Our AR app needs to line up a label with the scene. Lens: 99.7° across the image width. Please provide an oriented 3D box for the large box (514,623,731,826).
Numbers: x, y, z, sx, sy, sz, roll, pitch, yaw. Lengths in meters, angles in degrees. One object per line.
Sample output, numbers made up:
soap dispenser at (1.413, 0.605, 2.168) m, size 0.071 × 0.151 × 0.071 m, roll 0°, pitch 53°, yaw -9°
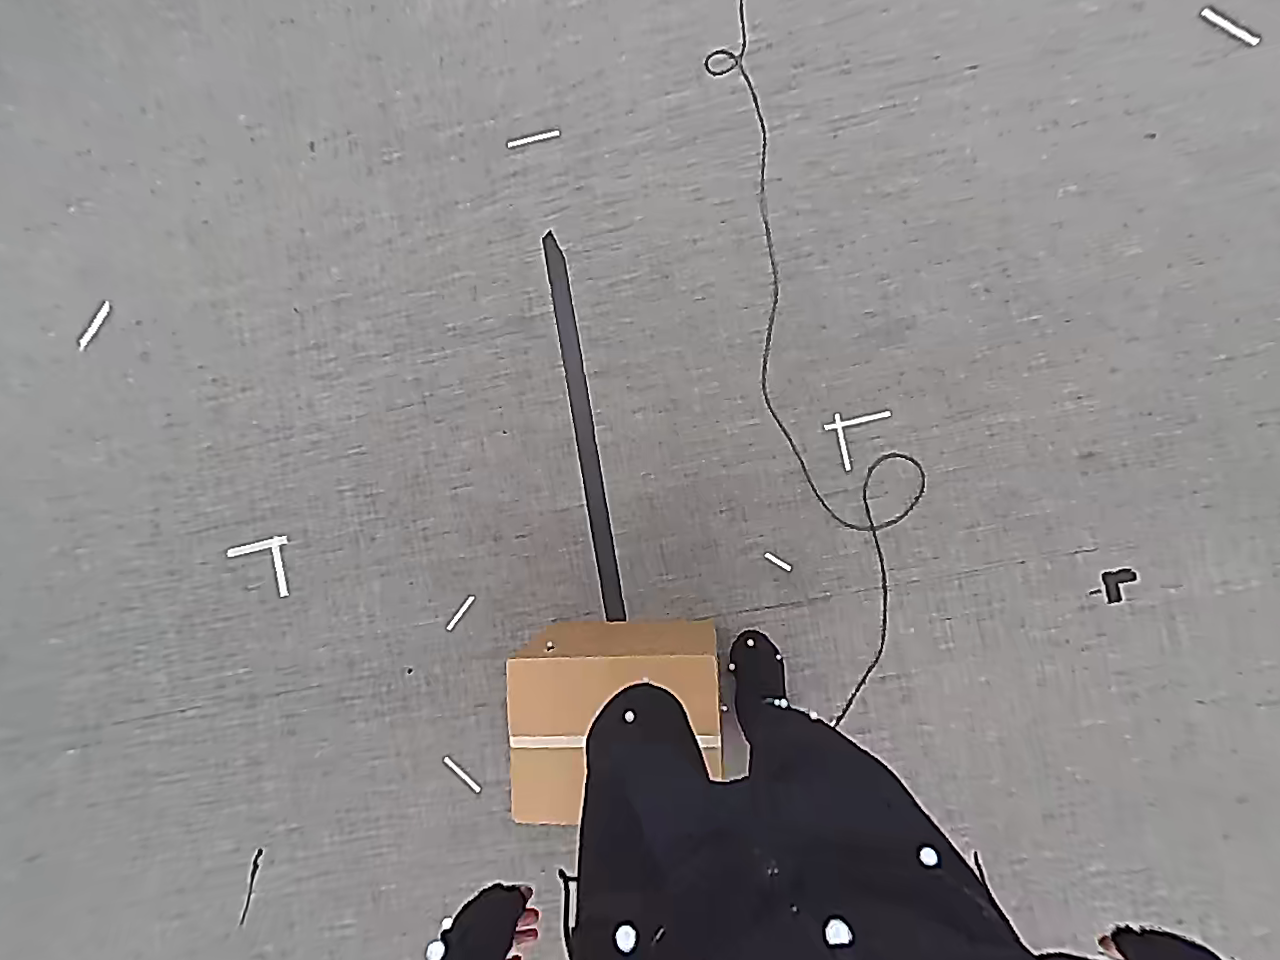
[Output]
large box at (-0.024, 0.496, 1.158) m, size 0.408 × 0.320 × 0.320 m, roll -3°, pitch 88°, yaw 6°
